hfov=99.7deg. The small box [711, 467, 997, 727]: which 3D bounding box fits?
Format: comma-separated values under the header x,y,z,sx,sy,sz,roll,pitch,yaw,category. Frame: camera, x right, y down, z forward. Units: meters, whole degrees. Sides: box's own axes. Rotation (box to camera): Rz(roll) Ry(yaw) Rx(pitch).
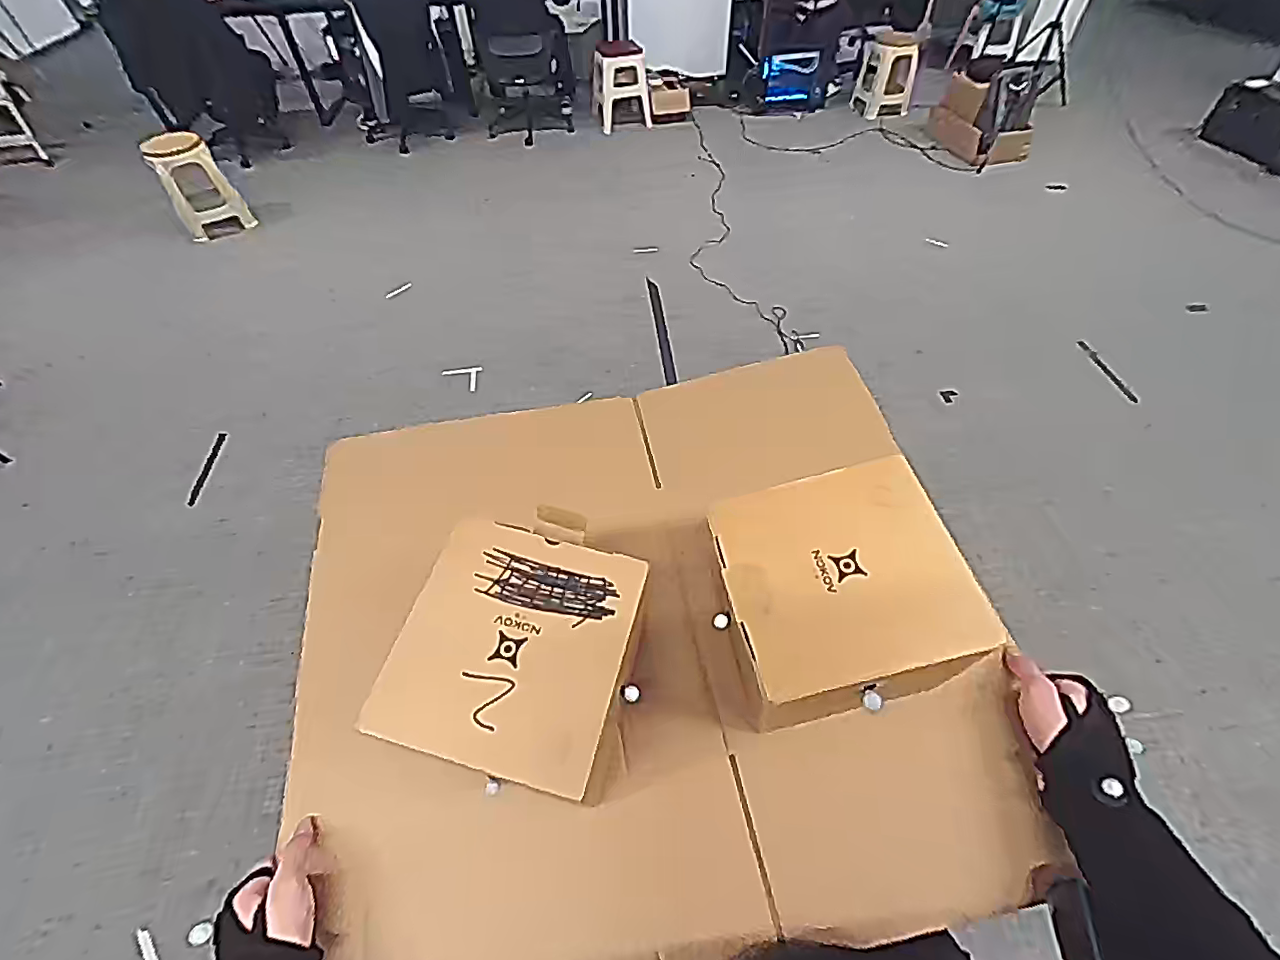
x,y,z,sx,sy,sz,roll,pitch,yaw,category
0.172,0.116,0.500,0.179,0.176,0.168,-15,58,1,small box
